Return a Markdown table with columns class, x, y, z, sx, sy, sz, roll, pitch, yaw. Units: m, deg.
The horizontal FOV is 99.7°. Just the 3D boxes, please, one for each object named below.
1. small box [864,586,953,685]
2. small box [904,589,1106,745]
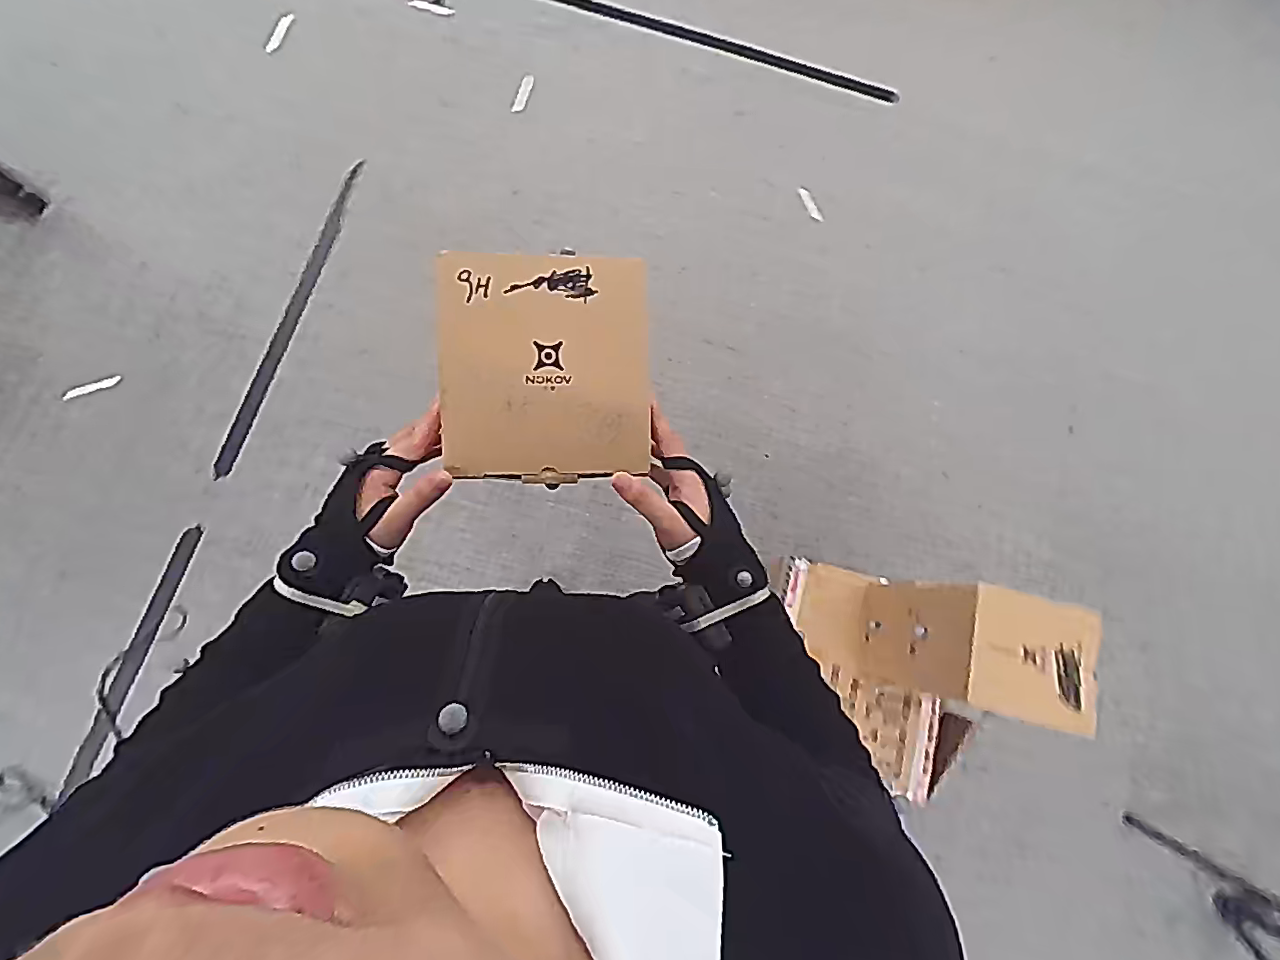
| class | x | y | z | sx | sy | sz | roll | pitch | yaw |
| --- | --- | --- | --- | --- | --- | --- | --- | --- | --- |
| small box | 0.527 | 0.288 | 0.962 | 0.179 | 0.176 | 0.168 | 12 | 76 | 0 |
| small box | 0.527 | 0.264 | 0.798 | 0.179 | 0.176 | 0.168 | 15 | 76 | 1 |
